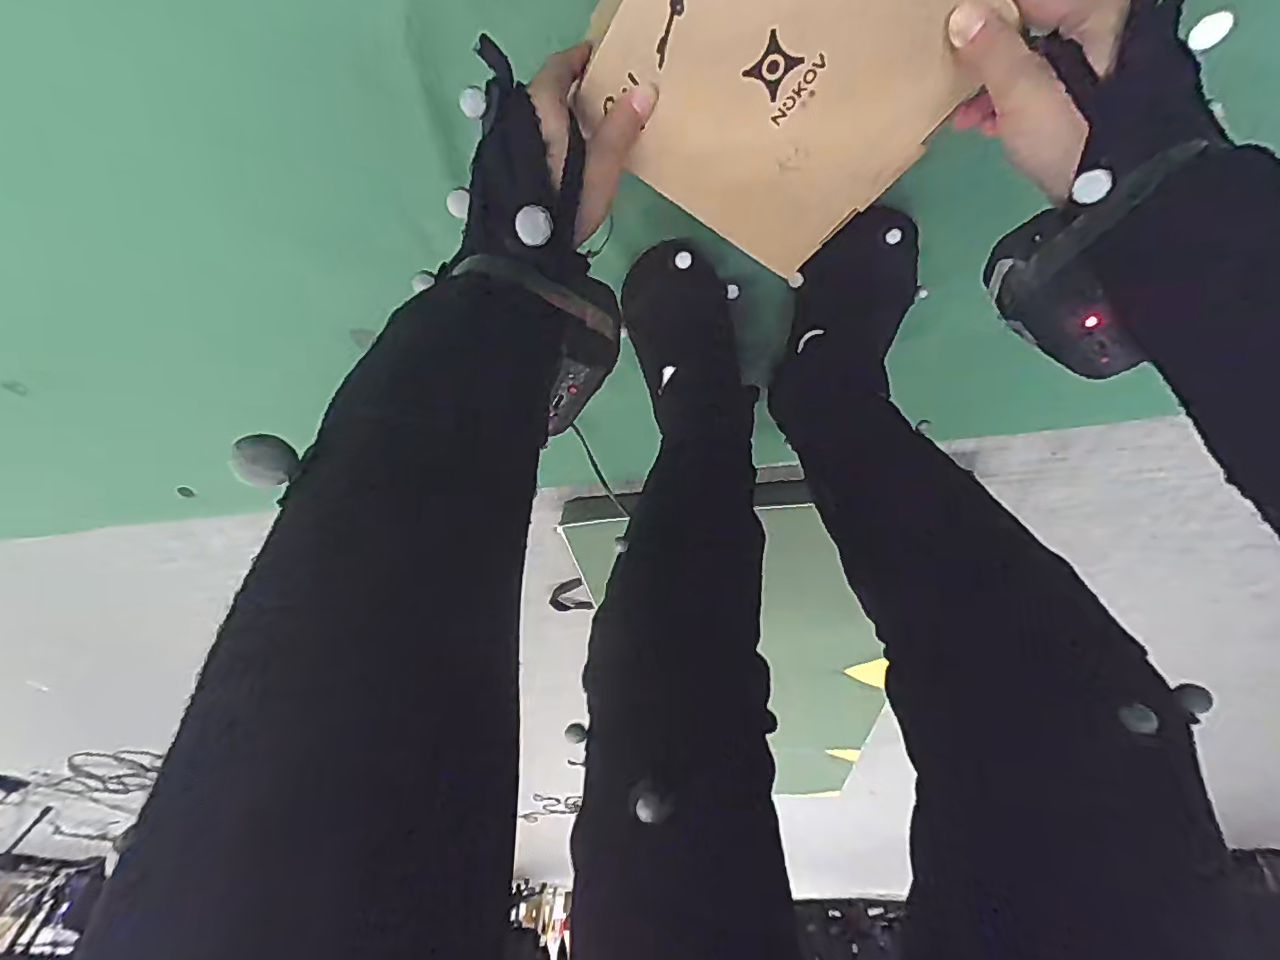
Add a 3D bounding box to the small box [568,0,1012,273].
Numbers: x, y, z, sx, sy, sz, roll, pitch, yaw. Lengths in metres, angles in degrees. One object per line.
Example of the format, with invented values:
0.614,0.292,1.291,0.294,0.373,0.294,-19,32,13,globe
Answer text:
0.077,-0.276,0.334,0.179,0.176,0.168,23,139,-27,small box
